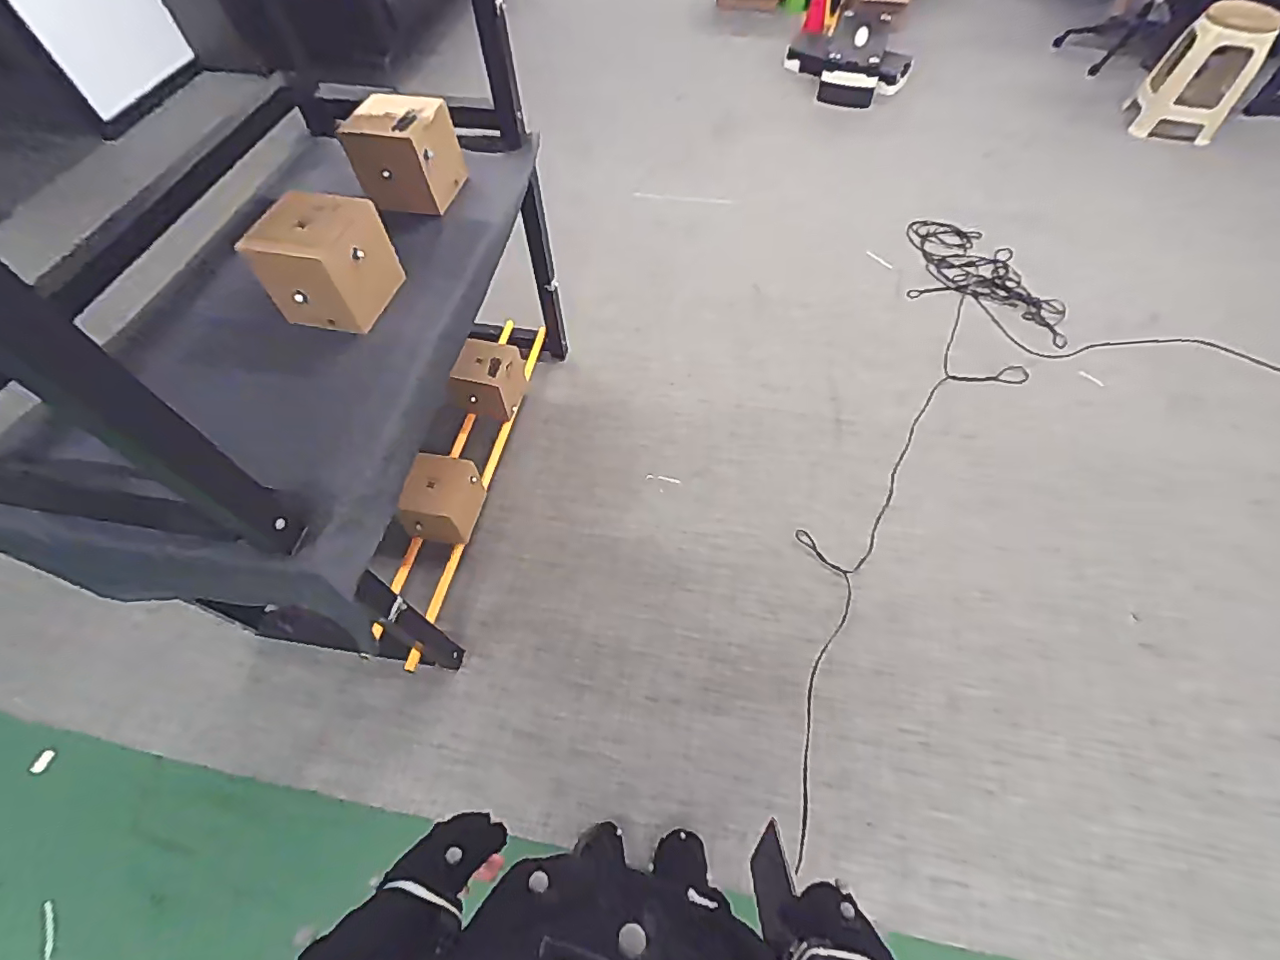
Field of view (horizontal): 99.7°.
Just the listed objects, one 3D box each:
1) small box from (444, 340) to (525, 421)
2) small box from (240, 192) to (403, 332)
[{"bbox_3d":[-0.473,-0.304,1.680,0.179,0.176,0.168,12,59,7],"label":"small box"},{"bbox_3d":[-0.575,-0.401,1.007,0.168,0.176,0.179,11,59,7],"label":"small box"}]
